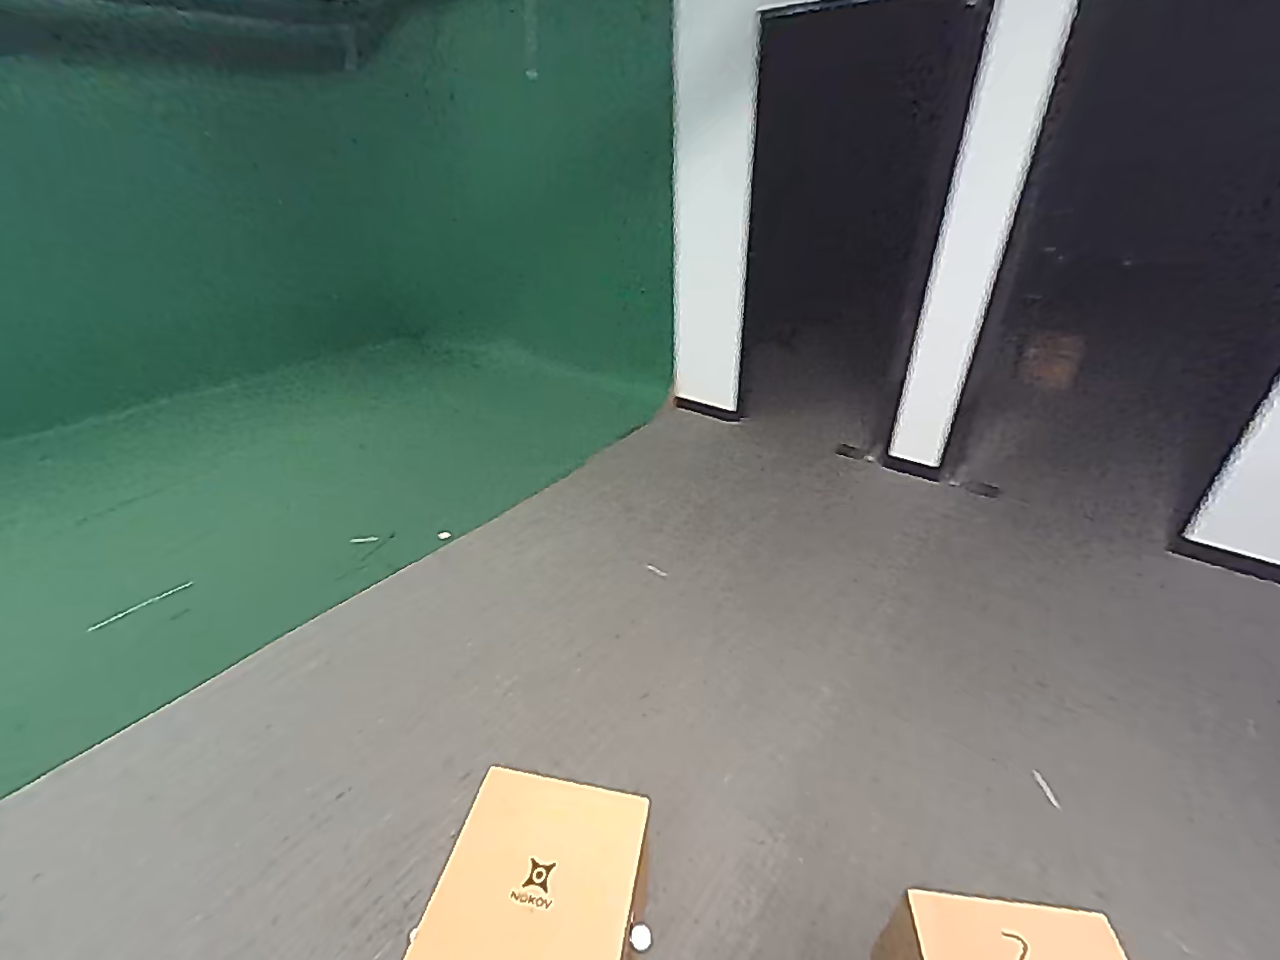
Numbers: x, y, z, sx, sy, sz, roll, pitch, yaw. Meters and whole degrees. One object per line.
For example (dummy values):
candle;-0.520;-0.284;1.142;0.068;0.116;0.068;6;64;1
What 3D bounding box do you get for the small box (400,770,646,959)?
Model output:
small box;-0.092;0.412;0.501;0.168;0.176;0.179;6;33;9
